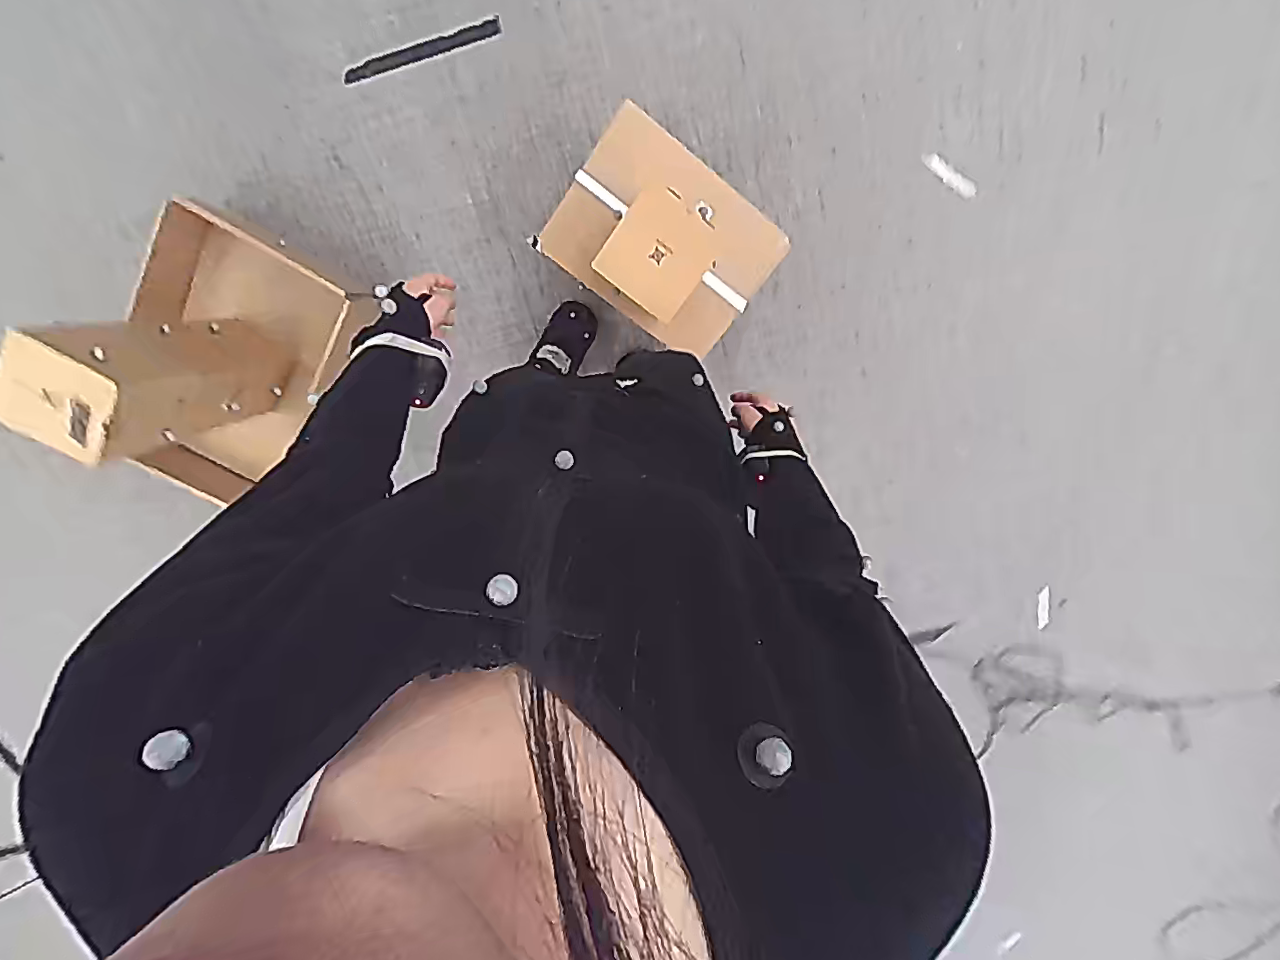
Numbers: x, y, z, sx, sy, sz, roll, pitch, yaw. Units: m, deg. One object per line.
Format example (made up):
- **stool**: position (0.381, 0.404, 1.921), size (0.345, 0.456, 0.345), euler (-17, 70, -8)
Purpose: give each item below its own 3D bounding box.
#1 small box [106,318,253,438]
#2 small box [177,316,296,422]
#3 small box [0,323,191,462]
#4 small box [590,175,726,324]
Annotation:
- **small box**: position (-0.951, -0.213, 1.103), size (0.179, 0.176, 0.168), euler (32, 105, -13)
- **small box**: position (-0.957, -0.262, 1.257), size (0.179, 0.176, 0.168), euler (33, 105, -12)
- **small box**: position (-0.950, -0.162, 0.946), size (0.179, 0.176, 0.168), euler (31, 105, -10)
- **small box**: position (0.028, -0.405, 0.980), size (0.168, 0.176, 0.179), euler (35, 103, -13)
